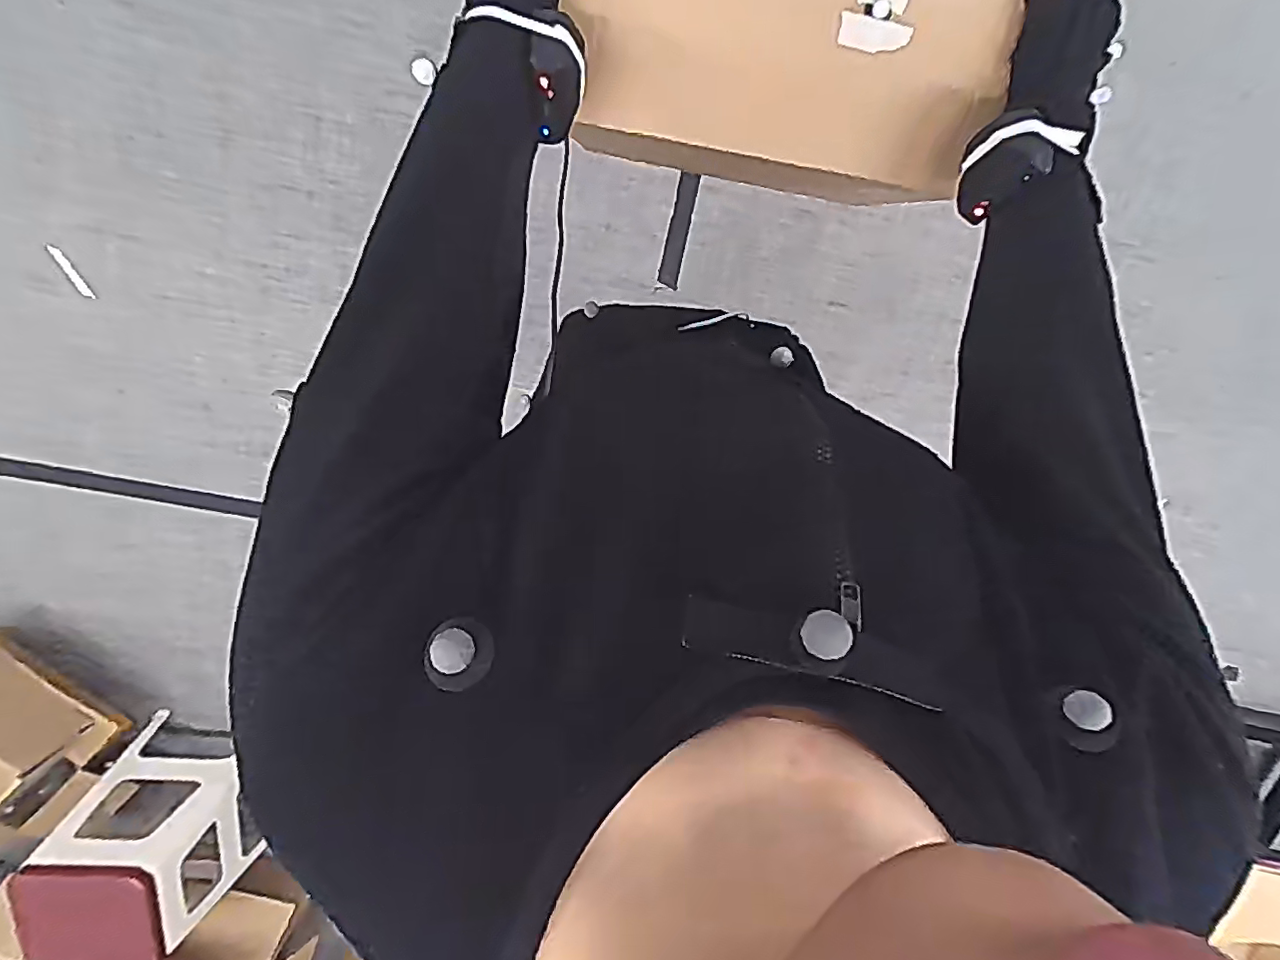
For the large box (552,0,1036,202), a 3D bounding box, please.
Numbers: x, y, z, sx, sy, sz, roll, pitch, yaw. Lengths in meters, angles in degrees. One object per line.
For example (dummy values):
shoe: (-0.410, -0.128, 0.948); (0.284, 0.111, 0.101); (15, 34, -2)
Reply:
large box: (0.137, -0.498, 0.570); (0.408, 0.320, 0.320); (9, 117, -3)
